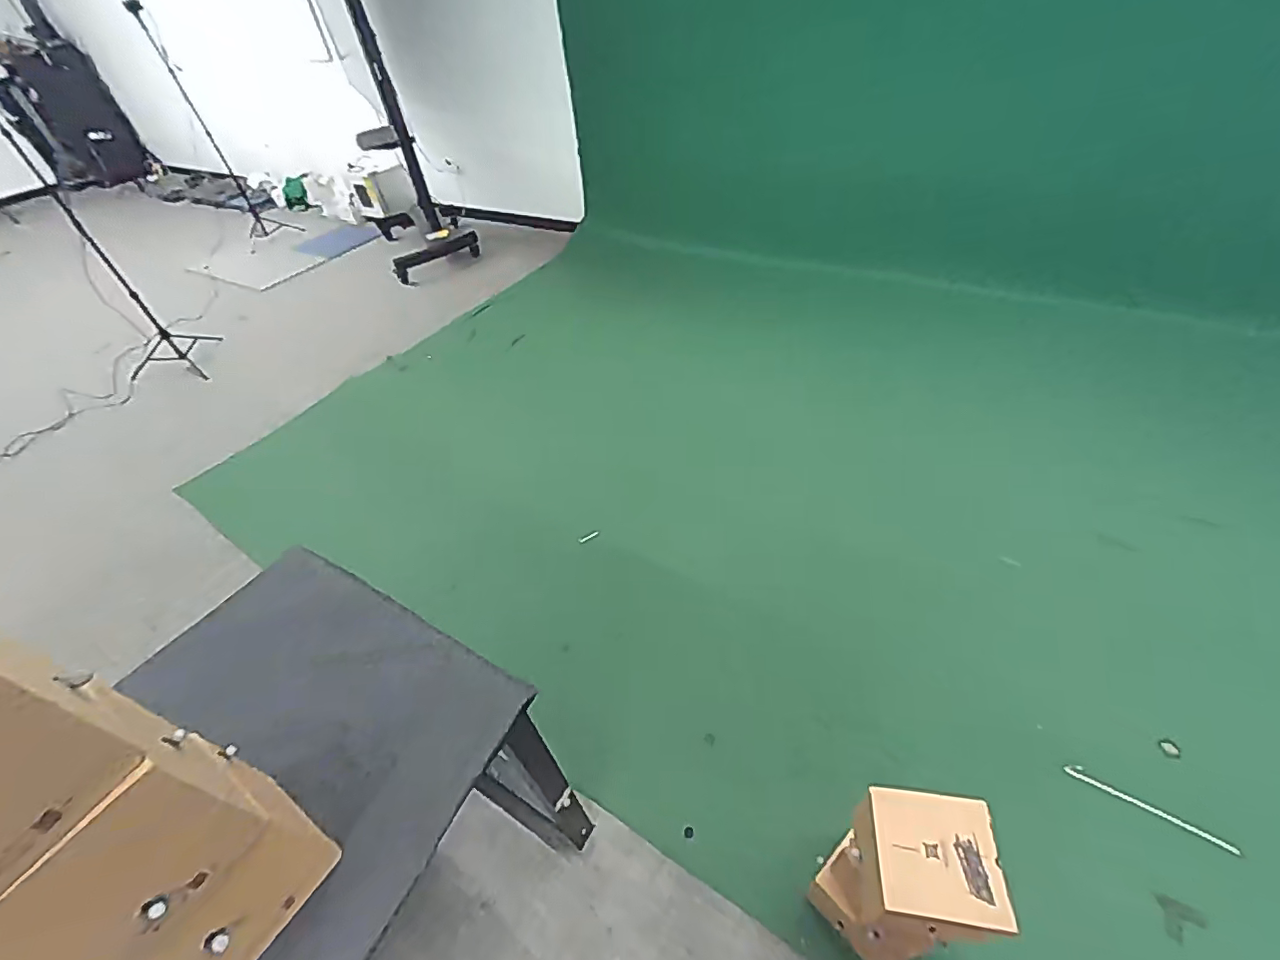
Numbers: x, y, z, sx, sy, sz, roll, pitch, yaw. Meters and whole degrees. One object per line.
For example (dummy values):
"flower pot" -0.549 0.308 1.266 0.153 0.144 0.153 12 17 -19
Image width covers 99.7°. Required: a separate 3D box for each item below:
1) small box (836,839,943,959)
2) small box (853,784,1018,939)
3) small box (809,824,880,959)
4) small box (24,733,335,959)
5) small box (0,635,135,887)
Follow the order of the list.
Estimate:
"small box" 0.474 0.729 0.974 0.179 0.176 0.168 -18 47 -11
"small box" 0.453 0.610 0.862 0.179 0.176 0.168 3 47 11
"small box" 0.465 0.829 1.105 0.179 0.176 0.168 -34 51 -25
"small box" -0.483 0.422 0.595 0.179 0.176 0.168 20 51 27
"small box" -0.518 0.191 0.365 0.179 0.176 0.168 17 50 25
